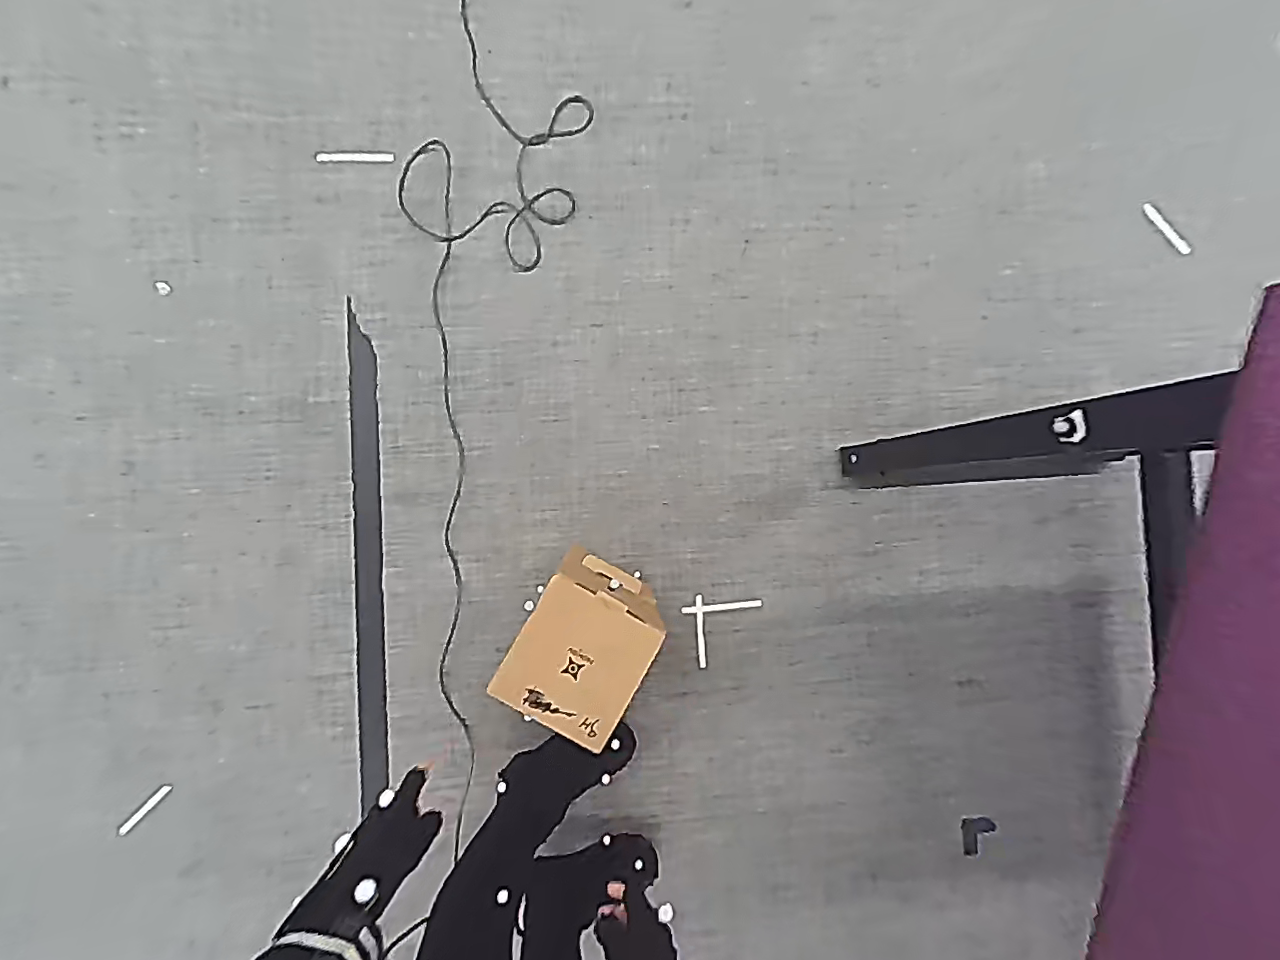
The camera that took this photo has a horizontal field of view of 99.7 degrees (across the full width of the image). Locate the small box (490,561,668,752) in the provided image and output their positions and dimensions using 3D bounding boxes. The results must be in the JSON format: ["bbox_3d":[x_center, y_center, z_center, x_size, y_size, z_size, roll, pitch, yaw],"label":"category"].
[{"bbox_3d":[-0.082,0.228,0.755,0.168,0.176,0.179,30,86,-2],"label":"small box"}]

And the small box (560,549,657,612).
[{"bbox_3d":[-0.091,0.231,0.918,0.168,0.176,0.179,28,87,-2],"label":"small box"}]
